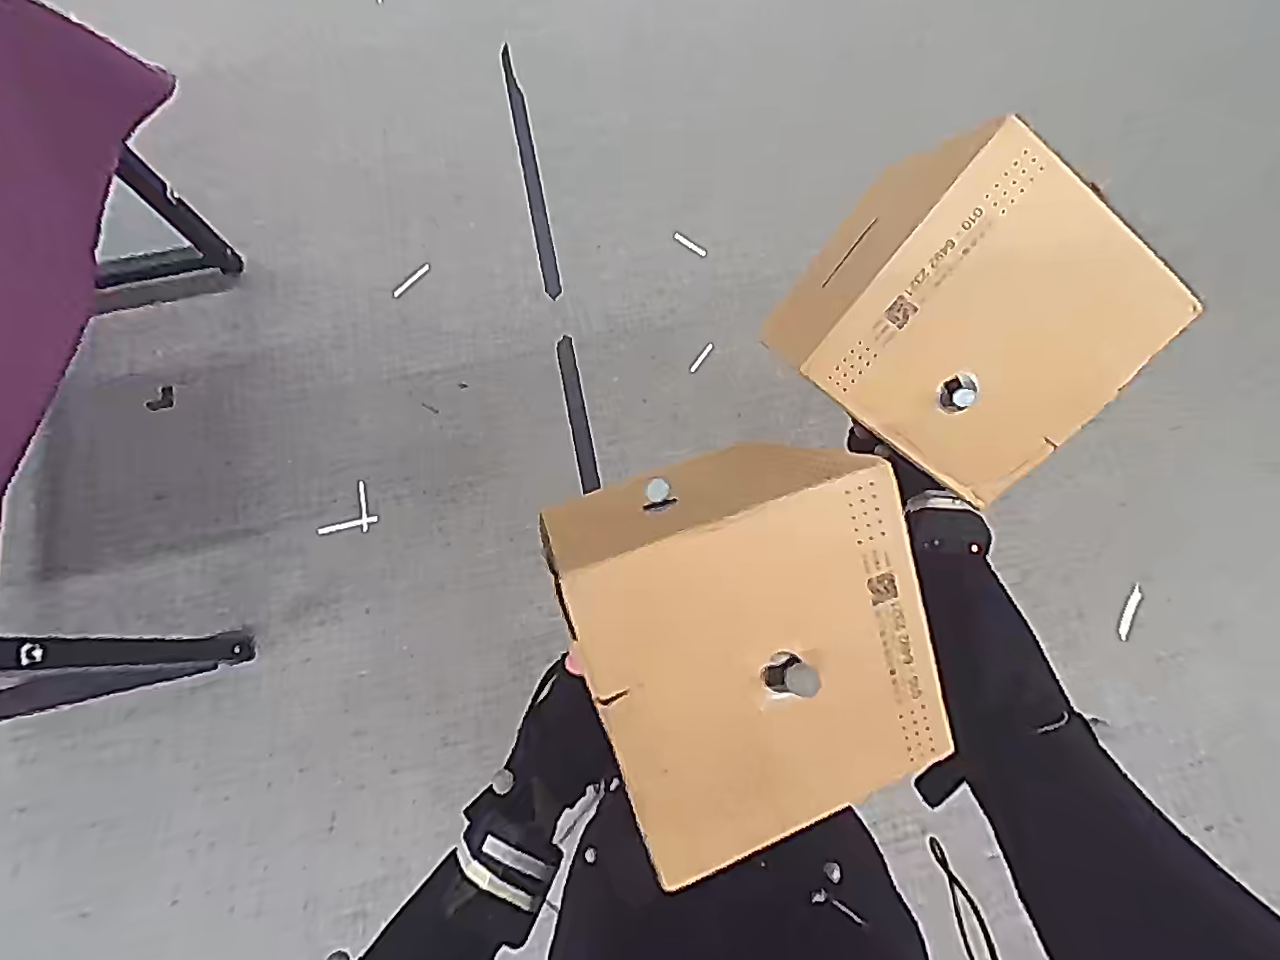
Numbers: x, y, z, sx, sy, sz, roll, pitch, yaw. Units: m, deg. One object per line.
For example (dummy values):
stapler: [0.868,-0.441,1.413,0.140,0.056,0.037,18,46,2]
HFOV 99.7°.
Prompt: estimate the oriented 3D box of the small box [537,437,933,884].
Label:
small box: [0.049,0.075,0.328,0.176,0.179,0.168,-18,100,-12]

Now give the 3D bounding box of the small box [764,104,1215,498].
small box: [0.211,-0.123,0.387,0.176,0.179,0.168,35,109,-12]
